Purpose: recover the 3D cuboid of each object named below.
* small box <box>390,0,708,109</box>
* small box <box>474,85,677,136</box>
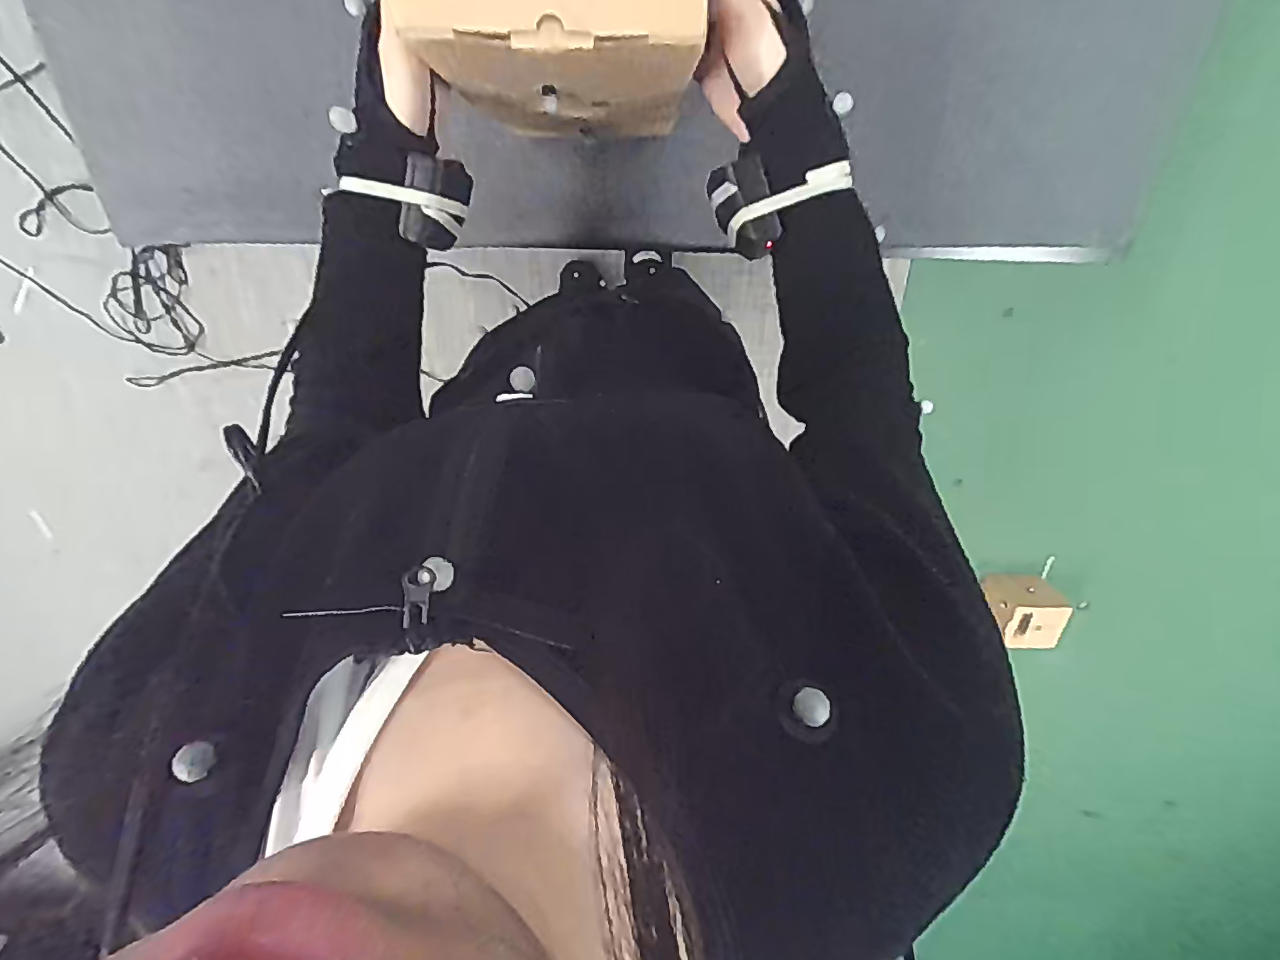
[{"bbox_3d":[-0.048,-0.346,0.322,0.168,0.176,0.179,0,114,-2],"label":"small box"},{"bbox_3d":[-0.051,-0.417,0.474,0.168,0.176,0.179,0,116,1],"label":"small box"}]
